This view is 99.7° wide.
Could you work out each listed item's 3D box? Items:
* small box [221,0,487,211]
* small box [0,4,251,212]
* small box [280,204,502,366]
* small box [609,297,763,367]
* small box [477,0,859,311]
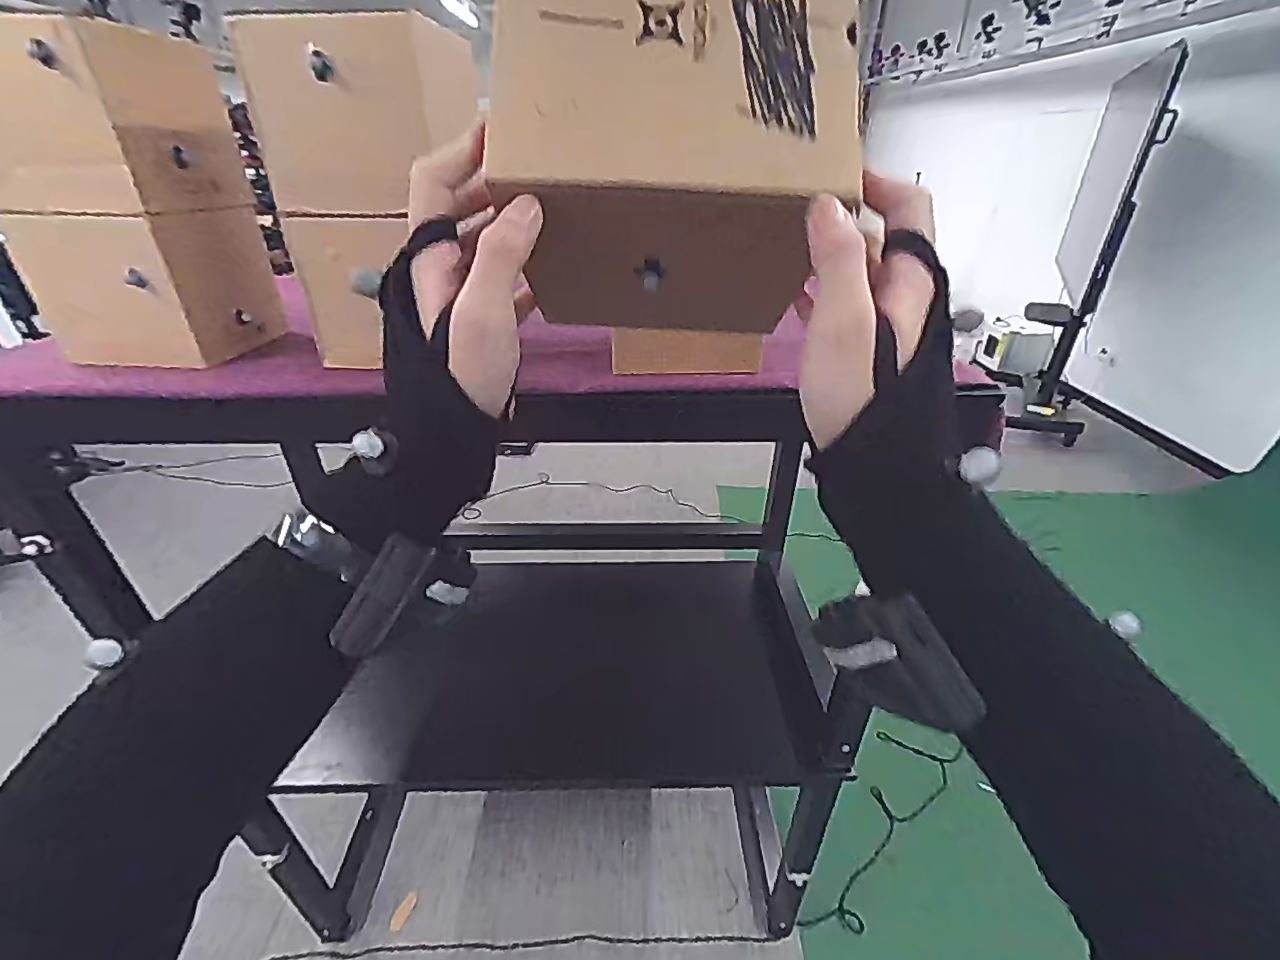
[{"bbox_3d":[-0.283,-0.386,0.583,0.179,0.176,0.168,3,31,4],"label":"small box"},{"bbox_3d":[-0.588,-0.393,0.597,0.179,0.176,0.168,3,30,3],"label":"small box"},{"bbox_3d":[-0.285,-0.244,0.665,0.179,0.176,0.168,1,31,3],"label":"small box"},{"bbox_3d":[0.052,-0.241,0.654,0.179,0.176,0.168,-1,32,0],"label":"small box"},{"bbox_3d":[0.016,-0.217,0.334,0.179,0.168,0.176,2,-7,2],"label":"small box"}]
